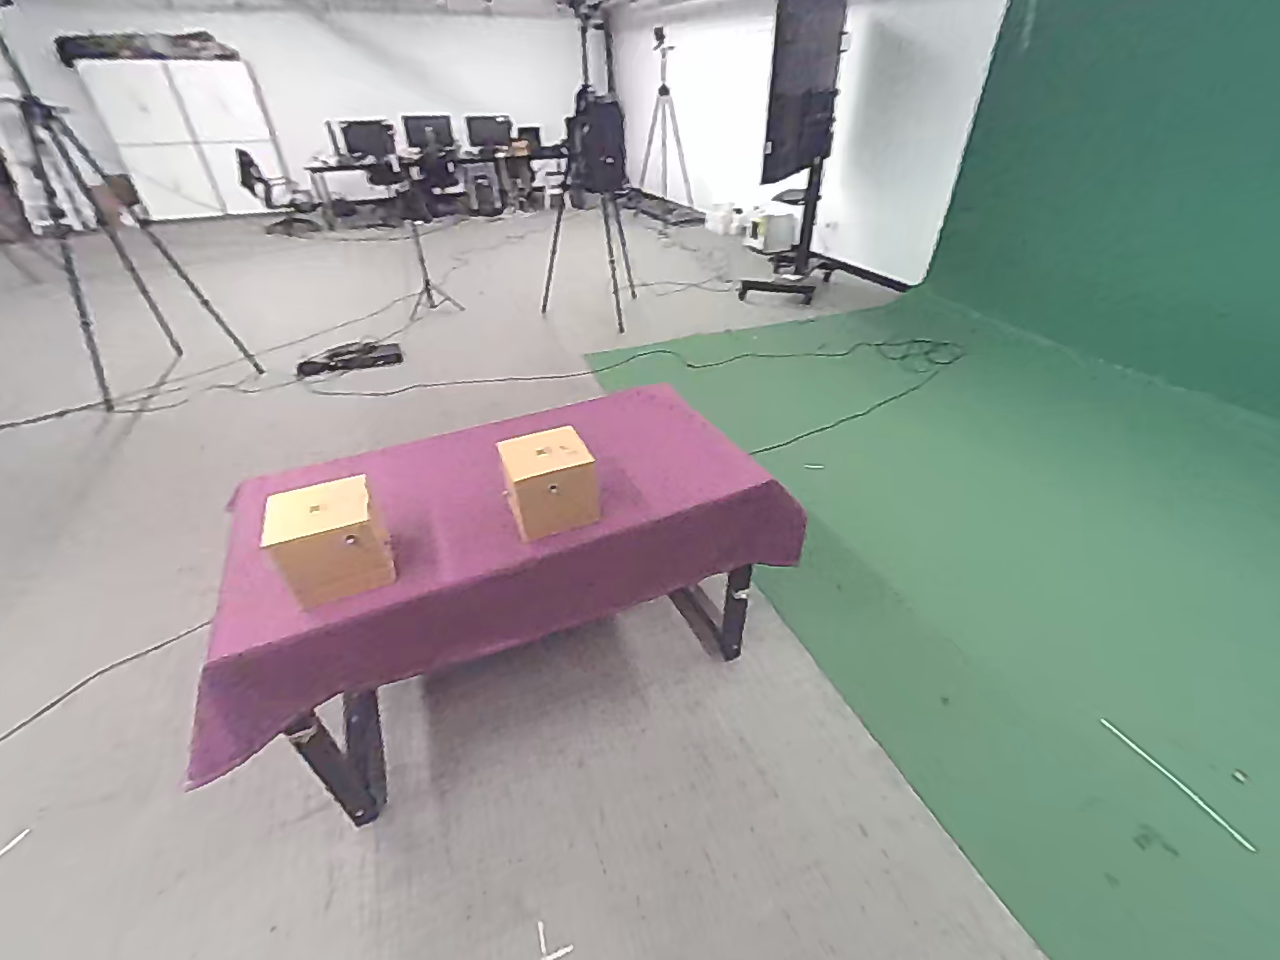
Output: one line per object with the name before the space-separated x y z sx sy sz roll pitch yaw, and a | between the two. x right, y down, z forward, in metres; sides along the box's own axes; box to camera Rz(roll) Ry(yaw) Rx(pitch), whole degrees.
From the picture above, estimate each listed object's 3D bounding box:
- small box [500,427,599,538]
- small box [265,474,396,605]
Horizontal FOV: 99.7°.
small box | -0.199 0.007 1.208 0.179 0.176 0.168 -15 39 -18
small box | -0.601 0.117 1.066 0.179 0.176 0.168 -15 38 -20
